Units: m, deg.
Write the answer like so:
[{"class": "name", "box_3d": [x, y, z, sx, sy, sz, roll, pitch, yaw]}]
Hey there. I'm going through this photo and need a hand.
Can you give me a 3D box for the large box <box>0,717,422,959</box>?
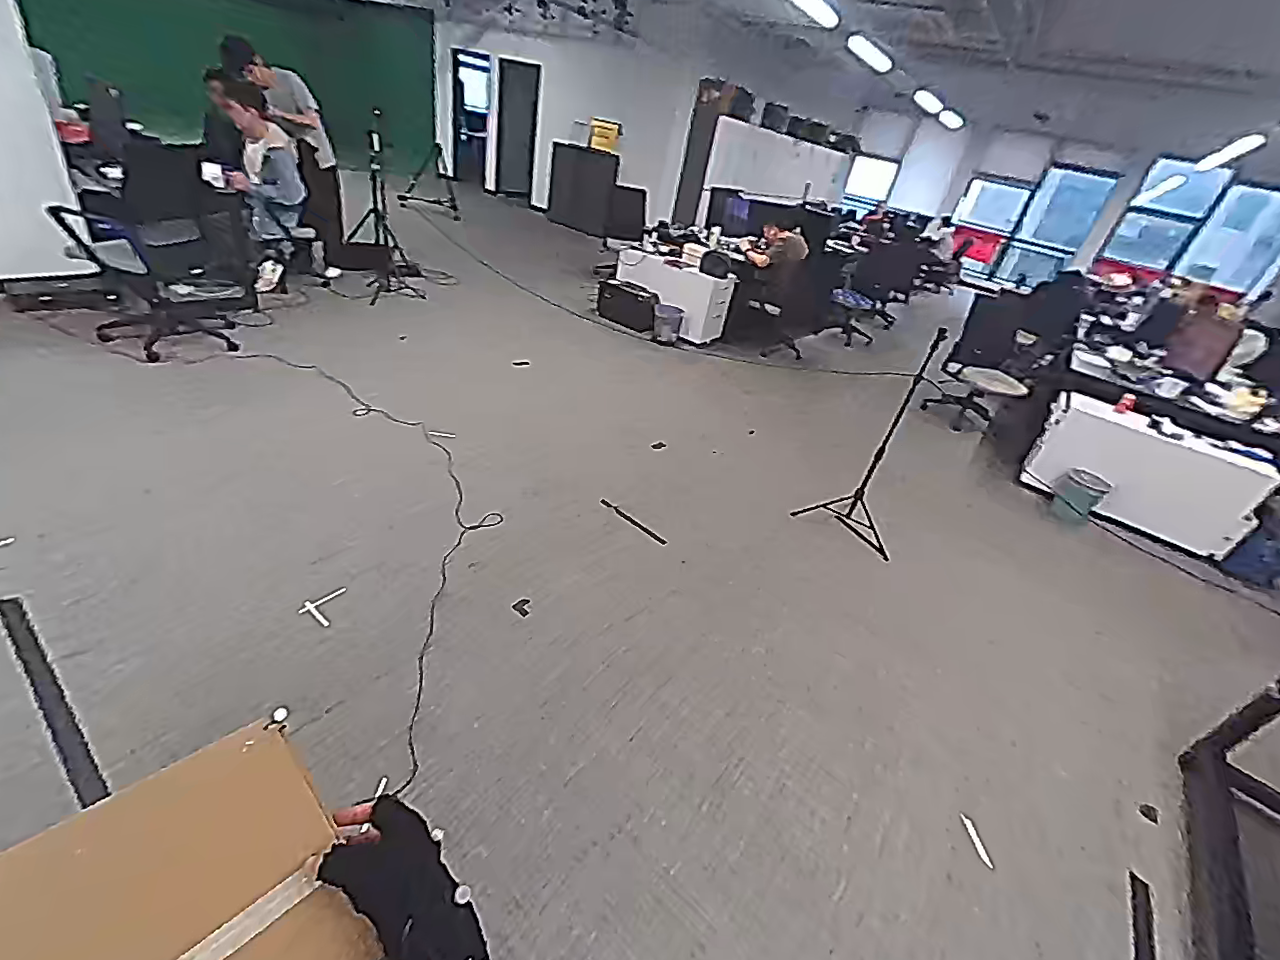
[{"class": "large box", "box_3d": [-0.430, 0.495, 0.427, 0.320, 0.320, 0.408, 41, 39, 23]}]
